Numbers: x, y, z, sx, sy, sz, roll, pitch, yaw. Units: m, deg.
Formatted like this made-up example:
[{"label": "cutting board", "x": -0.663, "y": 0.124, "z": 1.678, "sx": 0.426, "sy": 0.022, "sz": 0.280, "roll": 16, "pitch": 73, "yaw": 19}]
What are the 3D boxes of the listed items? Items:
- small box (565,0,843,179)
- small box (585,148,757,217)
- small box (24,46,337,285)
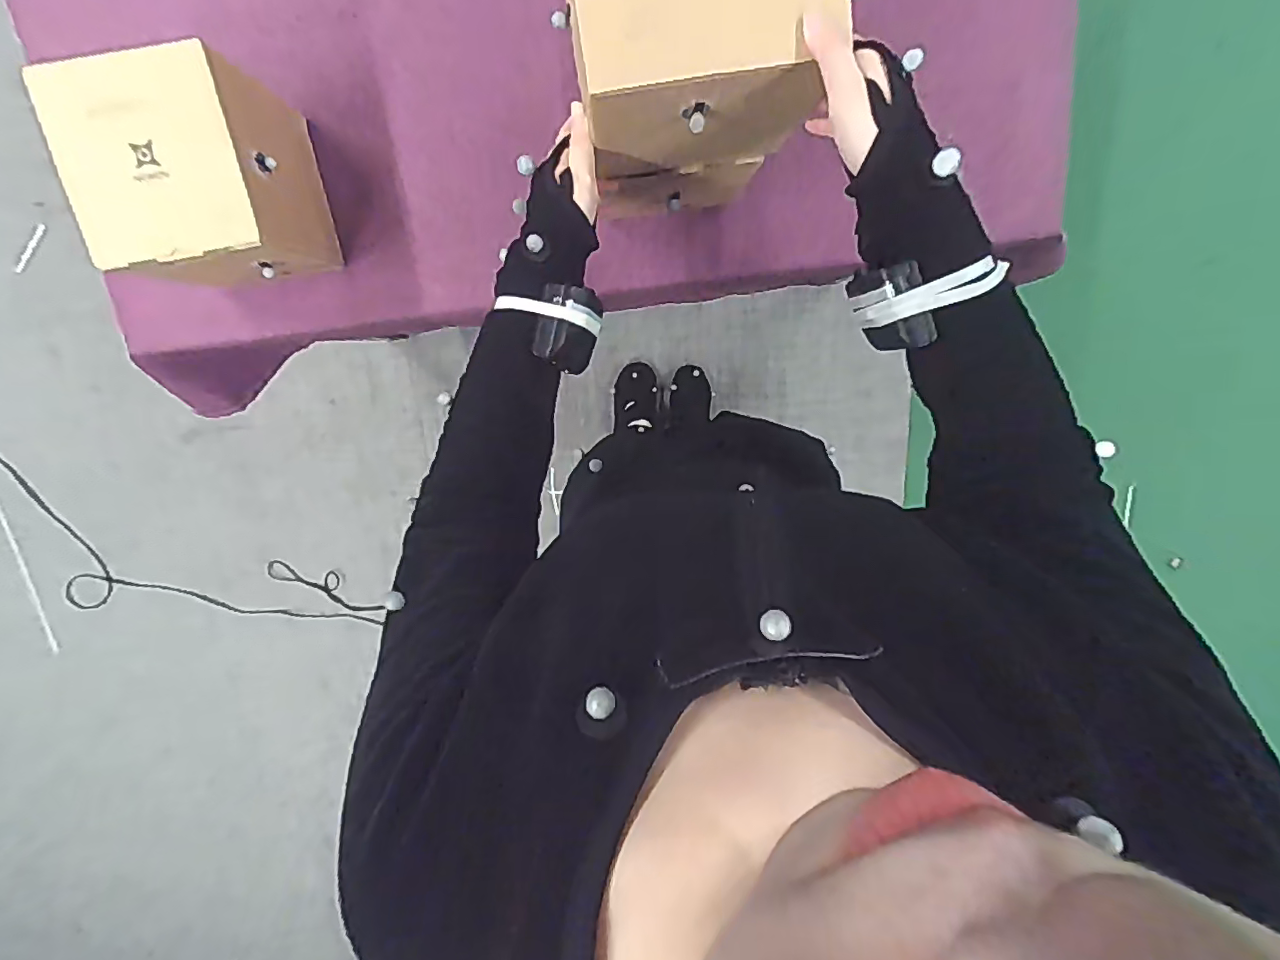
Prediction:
[{"label": "small box", "x": 0.033, "y": -0.350, "z": 0.412, "sx": 0.179, "sy": 0.176, "sz": 0.168, "roll": -9, "pitch": 104, "yaw": -2}, {"label": "small box", "x": 0.022, "y": -0.392, "z": 0.576, "sx": 0.168, "sy": 0.176, "sz": 0.179, "roll": -7, "pitch": 105, "yaw": 0}, {"label": "small box", "x": -0.461, "y": -0.313, "z": 0.581, "sx": 0.168, "sy": 0.176, "sz": 0.179, "roll": -9, "pitch": 103, "yaw": -1}]
